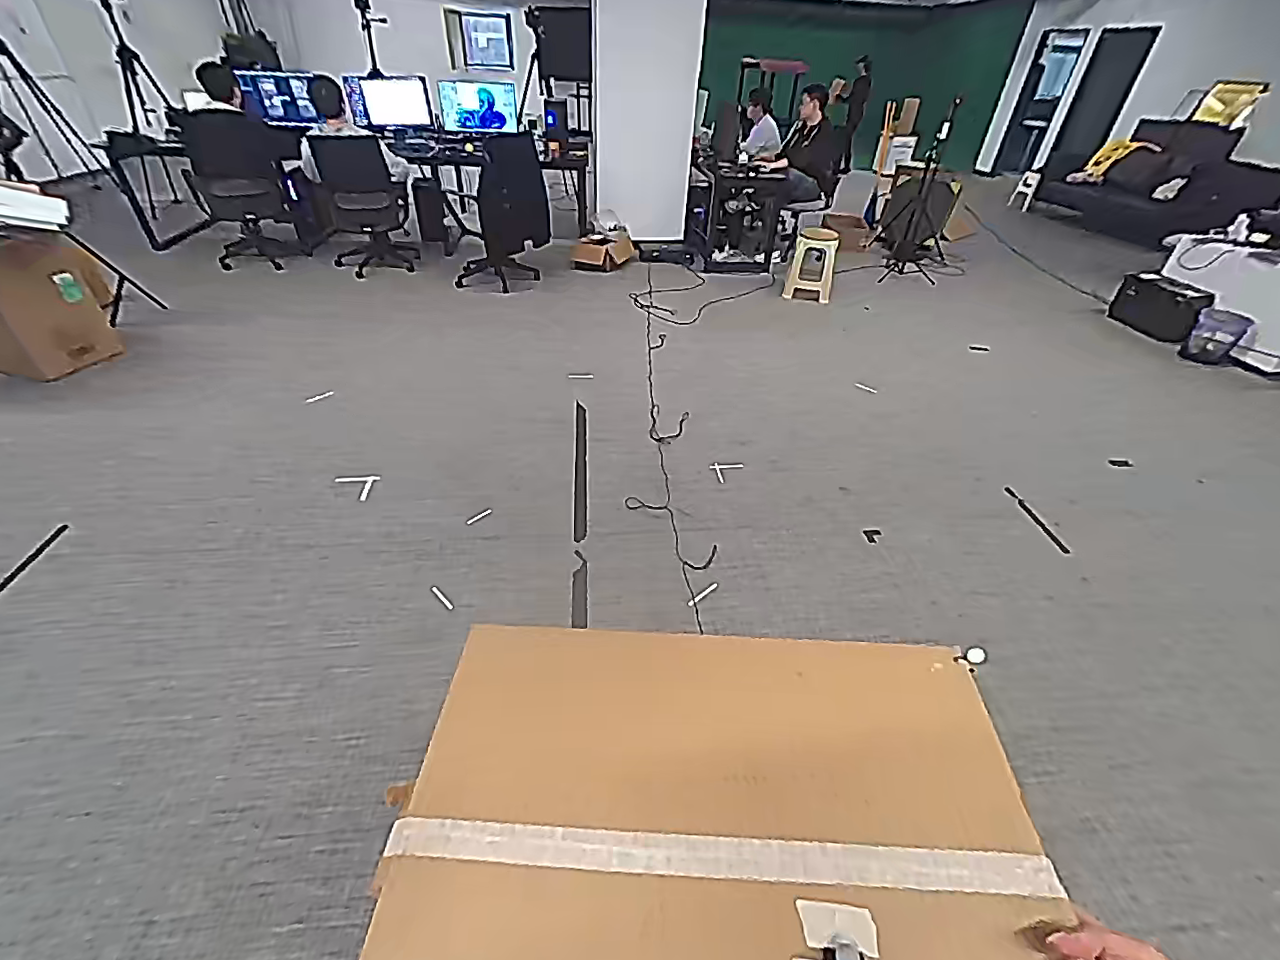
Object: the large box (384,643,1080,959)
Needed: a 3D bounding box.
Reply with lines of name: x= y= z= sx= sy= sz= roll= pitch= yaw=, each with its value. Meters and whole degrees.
large box: x=0.053 y=0.355 z=0.440 sx=0.408 sy=0.320 sz=0.320 roll=2 pitch=43 yaw=2
